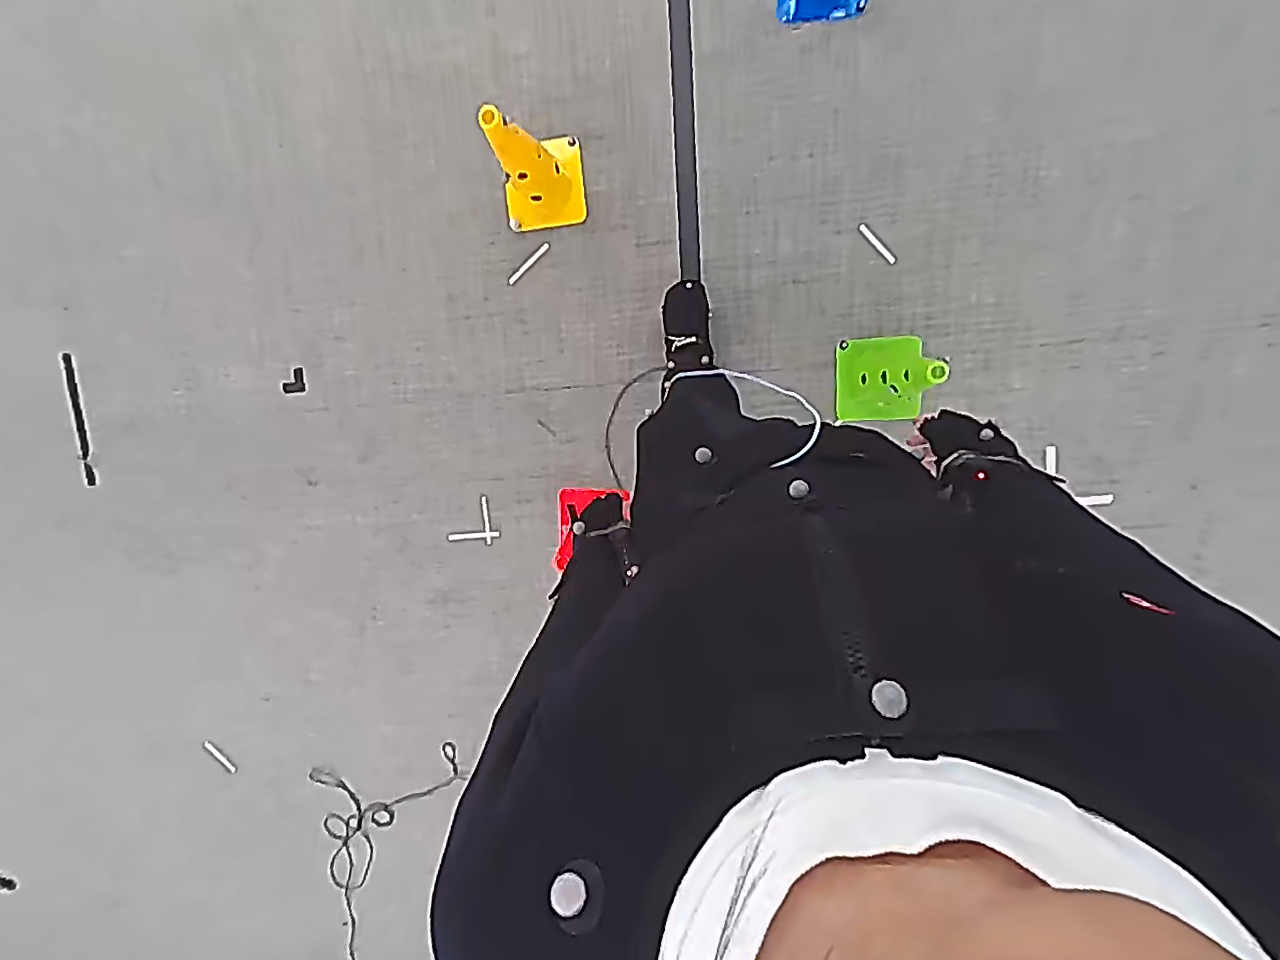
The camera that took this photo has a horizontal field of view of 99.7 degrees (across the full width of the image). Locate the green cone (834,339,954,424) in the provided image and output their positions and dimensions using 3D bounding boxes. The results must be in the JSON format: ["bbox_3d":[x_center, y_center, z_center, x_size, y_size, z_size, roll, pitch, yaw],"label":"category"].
[{"bbox_3d":[0.562,-0.214,1.157,0.202,0.368,0.200,-3,99,6],"label":"green cone"}]

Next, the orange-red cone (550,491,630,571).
[{"bbox_3d":[-0.150,0.151,1.303,0.199,0.360,0.198,2,98,8],"label":"orange-red cone"}]

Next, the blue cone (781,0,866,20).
[{"bbox_3d":[0.397,-1.112,1.050,0.192,0.380,0.193,1,99,6],"label":"blue cone"}]
